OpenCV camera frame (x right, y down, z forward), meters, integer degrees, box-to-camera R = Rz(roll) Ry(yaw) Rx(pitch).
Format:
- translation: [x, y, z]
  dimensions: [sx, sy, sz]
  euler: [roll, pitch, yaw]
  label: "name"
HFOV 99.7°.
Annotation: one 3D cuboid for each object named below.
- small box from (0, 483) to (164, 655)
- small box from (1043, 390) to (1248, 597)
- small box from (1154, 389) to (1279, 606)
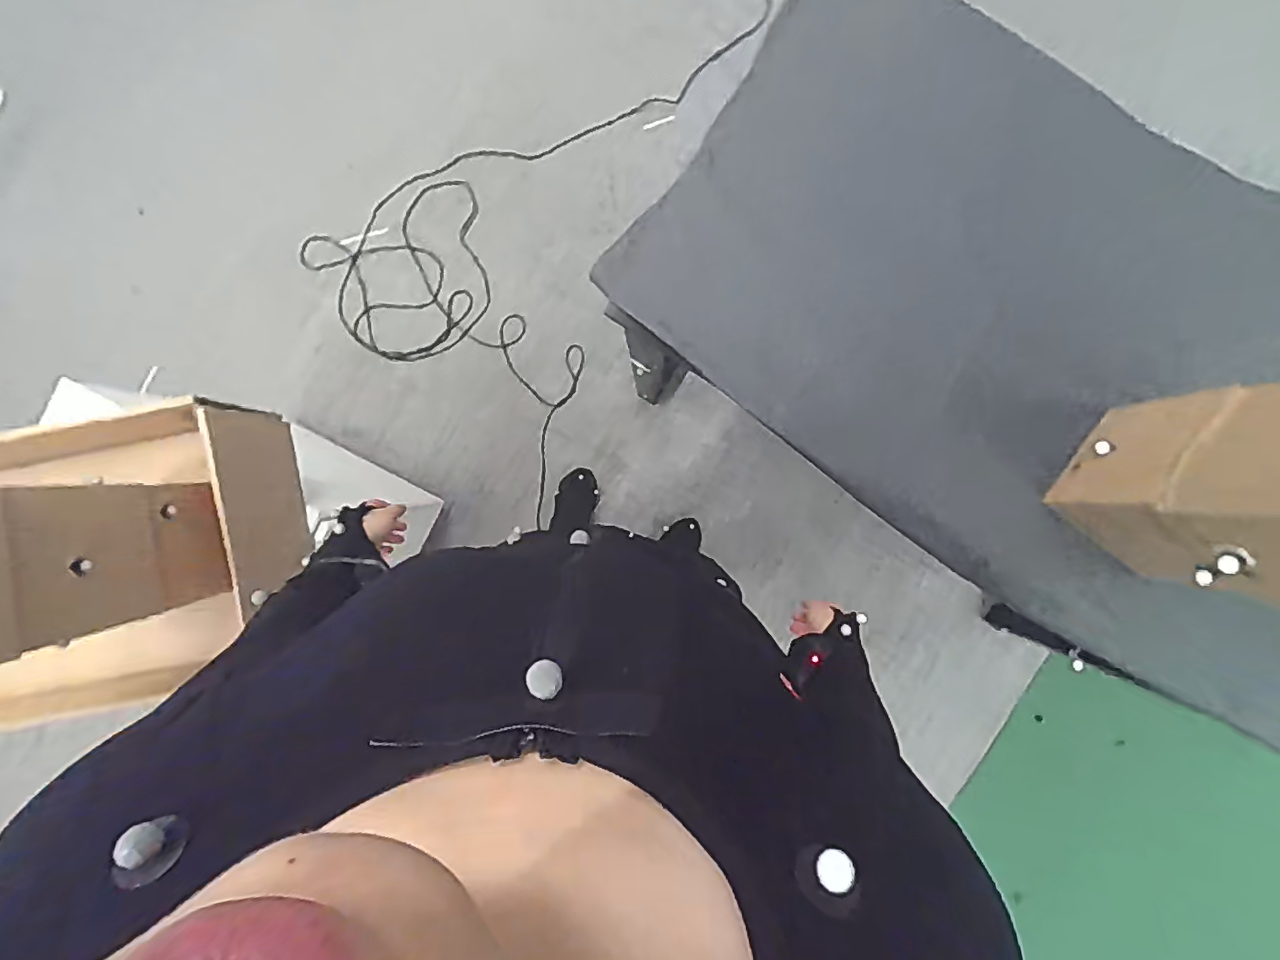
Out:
- translation: [-0.713, 0.100, 0.628]
  dimensions: [0.168, 0.176, 0.179]
  euler: [-9, 91, 3]
  label: "small box"
- translation: [0.666, 0.016, 0.666]
  dimensions: [0.179, 0.176, 0.168]
  euler: [37, 89, 2]
  label: "small box"
- translation: [0.658, 0.017, 0.504]
  dimensions: [0.168, 0.176, 0.179]
  euler: [39, 91, 3]
  label: "small box"
